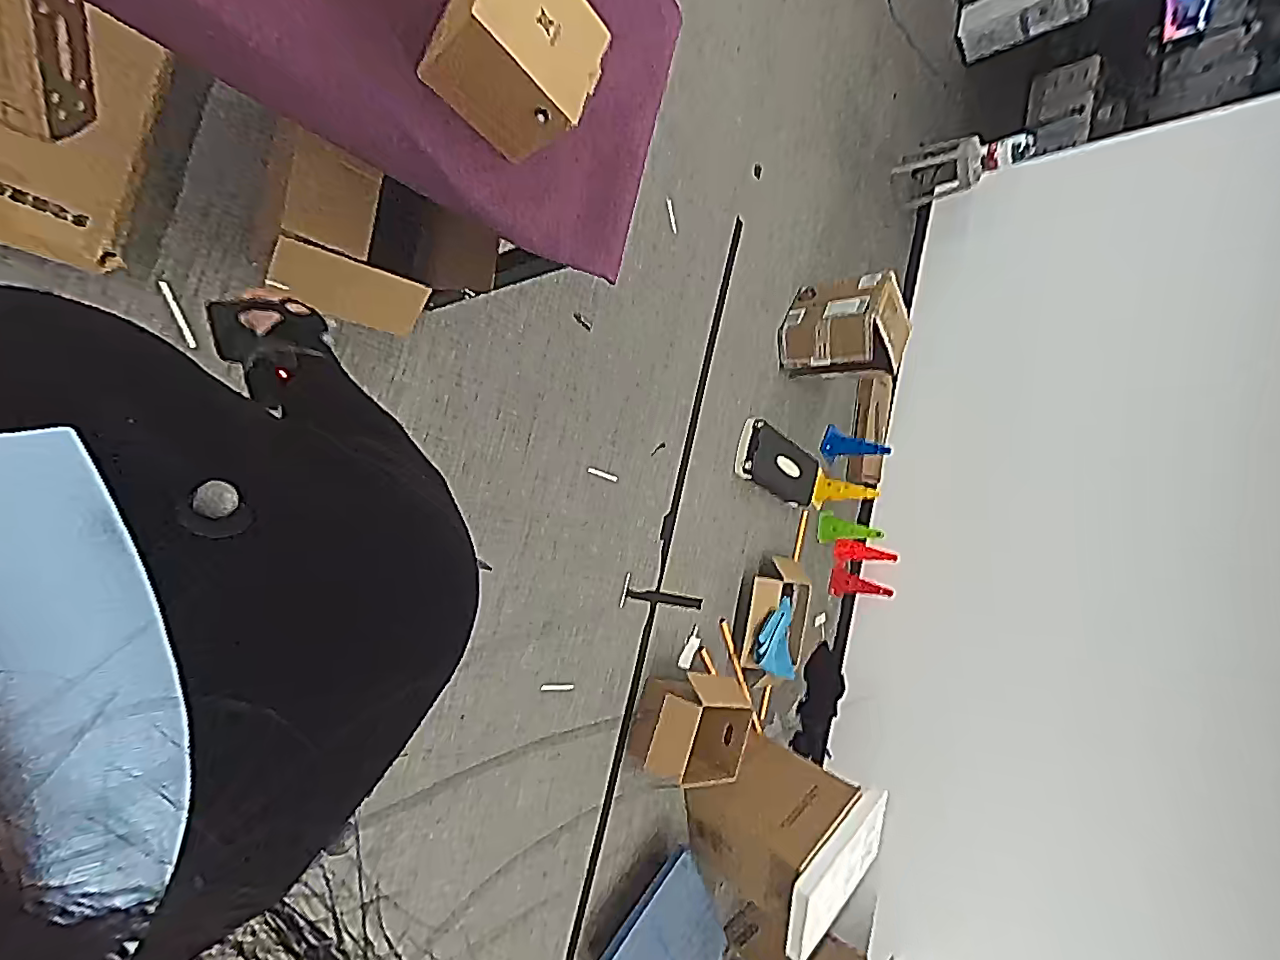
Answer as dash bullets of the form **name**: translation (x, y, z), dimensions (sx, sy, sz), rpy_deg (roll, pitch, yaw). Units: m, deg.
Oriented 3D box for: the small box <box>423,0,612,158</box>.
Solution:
- **small box**: translation (-0.175, -0.602, 0.766), dimensions (0.179, 0.176, 0.168), rpy_deg (28, 76, -44)
